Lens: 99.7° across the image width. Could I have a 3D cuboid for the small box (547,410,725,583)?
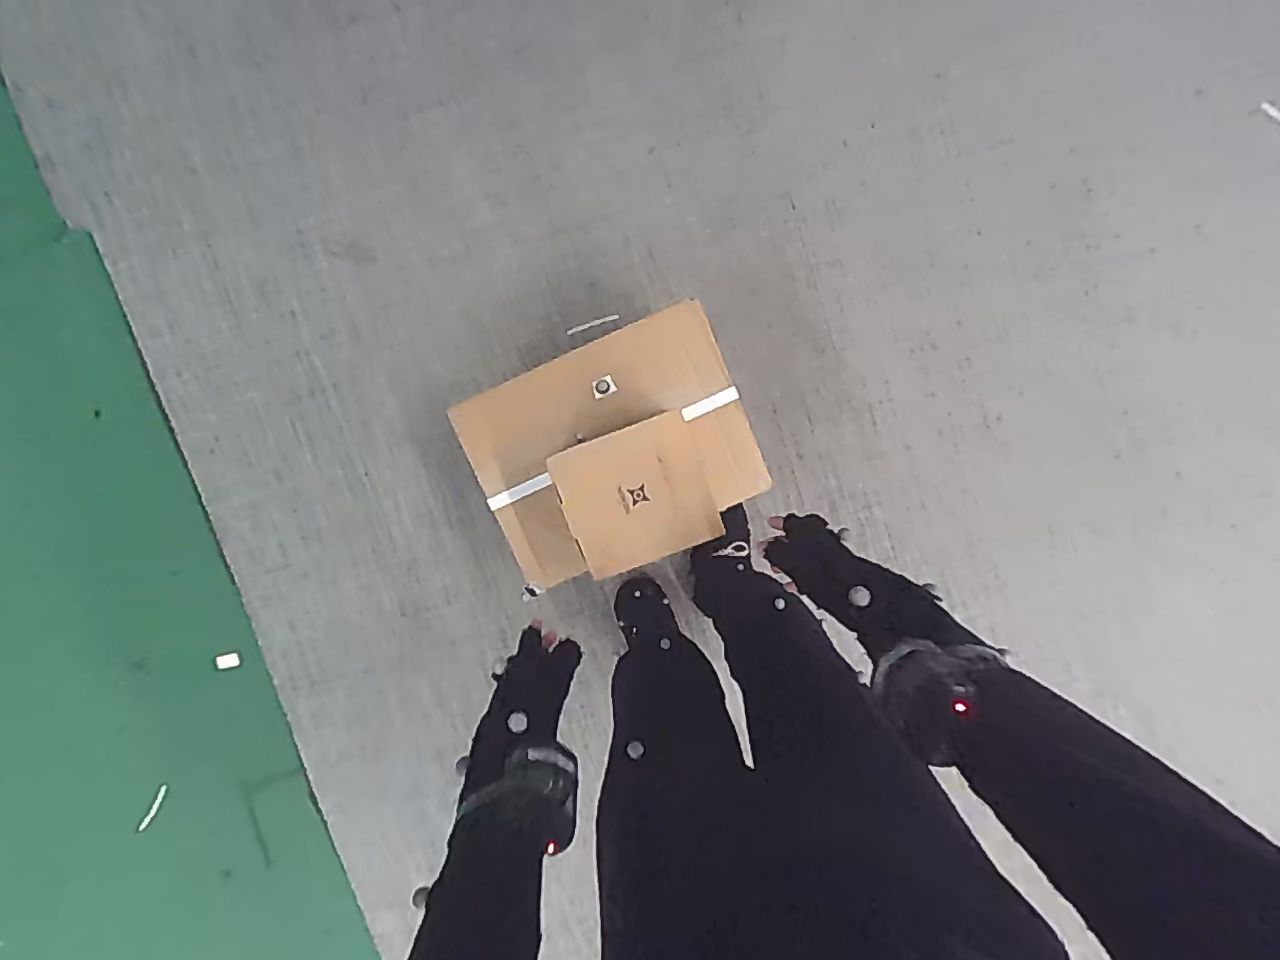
[{"bbox_3d":[-0.004,0.014,0.726,0.179,0.176,0.168,-21,97,1],"label":"small box"}]
